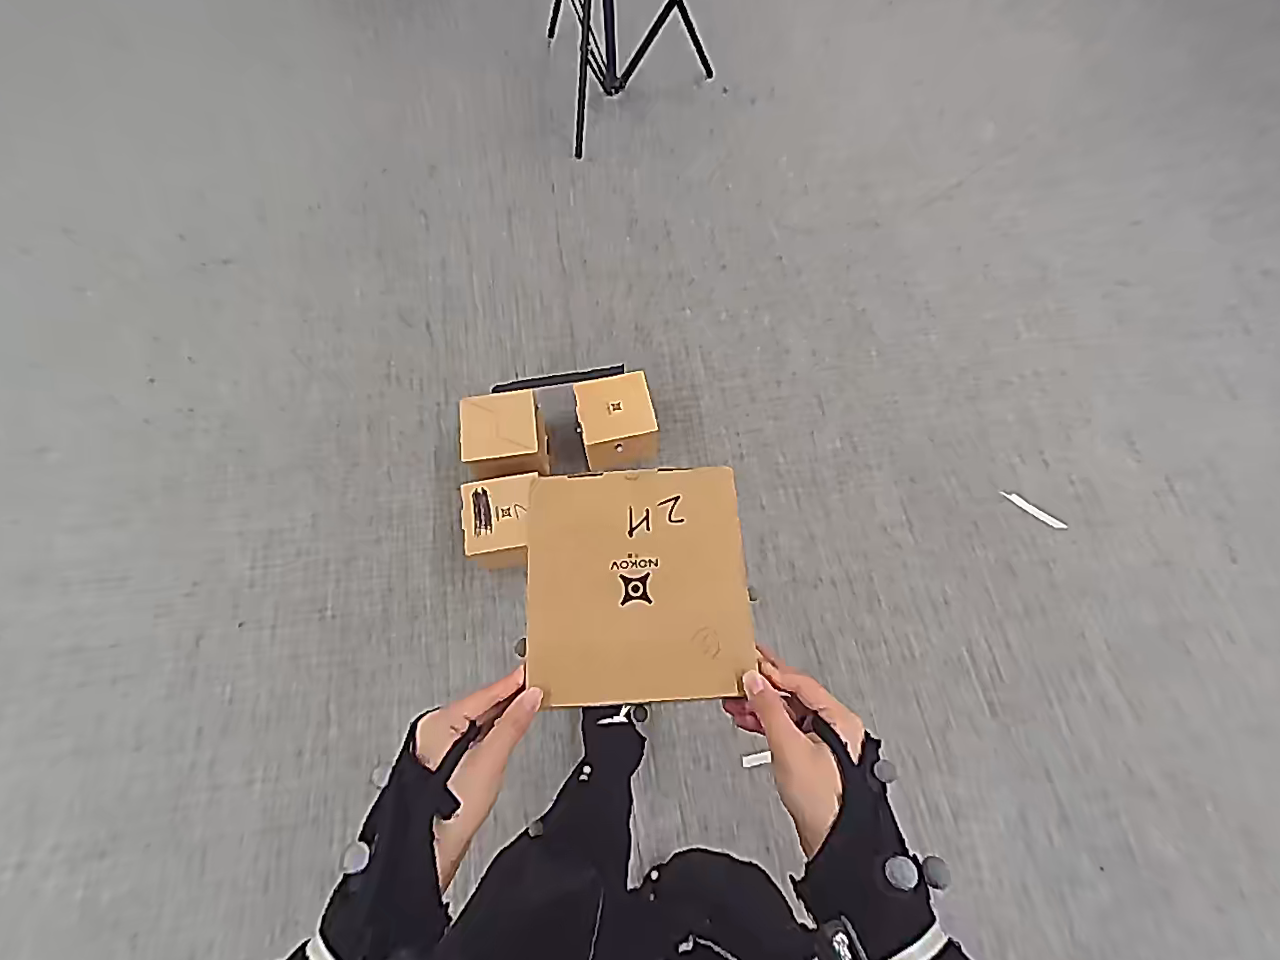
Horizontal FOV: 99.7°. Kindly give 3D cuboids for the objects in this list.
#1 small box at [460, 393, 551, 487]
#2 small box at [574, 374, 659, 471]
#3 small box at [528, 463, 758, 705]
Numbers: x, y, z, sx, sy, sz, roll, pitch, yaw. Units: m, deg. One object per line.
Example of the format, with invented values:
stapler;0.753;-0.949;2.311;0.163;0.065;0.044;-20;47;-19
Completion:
small box;-0.325;-0.096;1.322;0.179;0.176;0.168;-7;70;-3
small box;-0.058;-0.137;1.342;0.179;0.176;0.168;-12;71;-4
small box;0.002;0.100;0.481;0.168;0.176;0.179;-3;68;0
